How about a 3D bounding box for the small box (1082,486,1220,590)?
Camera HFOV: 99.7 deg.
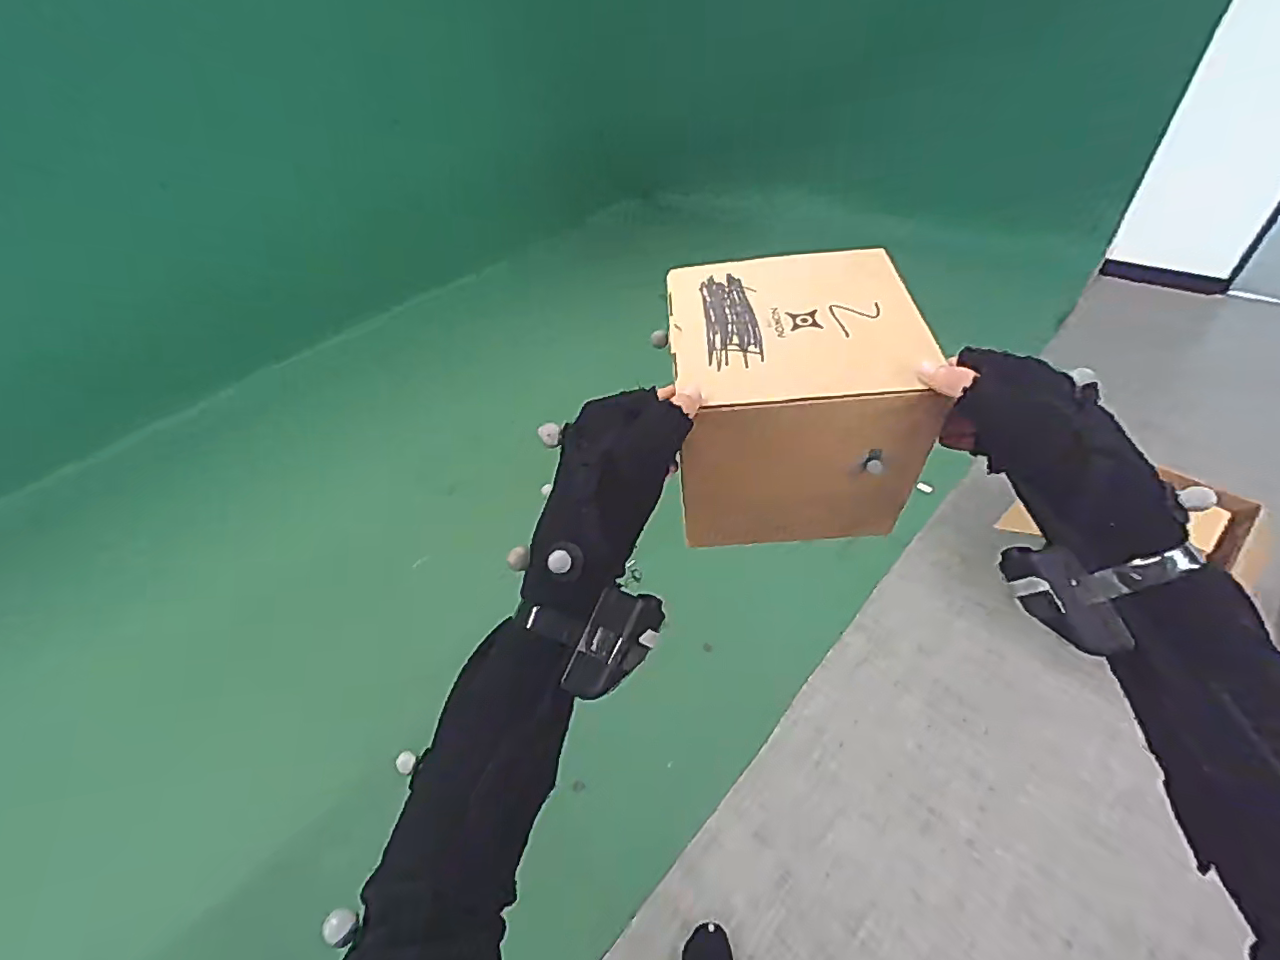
[{"bbox_3d":[1.284,0.153,1.369,0.168,0.176,0.179,-35,51,-25],"label":"small box"}]
